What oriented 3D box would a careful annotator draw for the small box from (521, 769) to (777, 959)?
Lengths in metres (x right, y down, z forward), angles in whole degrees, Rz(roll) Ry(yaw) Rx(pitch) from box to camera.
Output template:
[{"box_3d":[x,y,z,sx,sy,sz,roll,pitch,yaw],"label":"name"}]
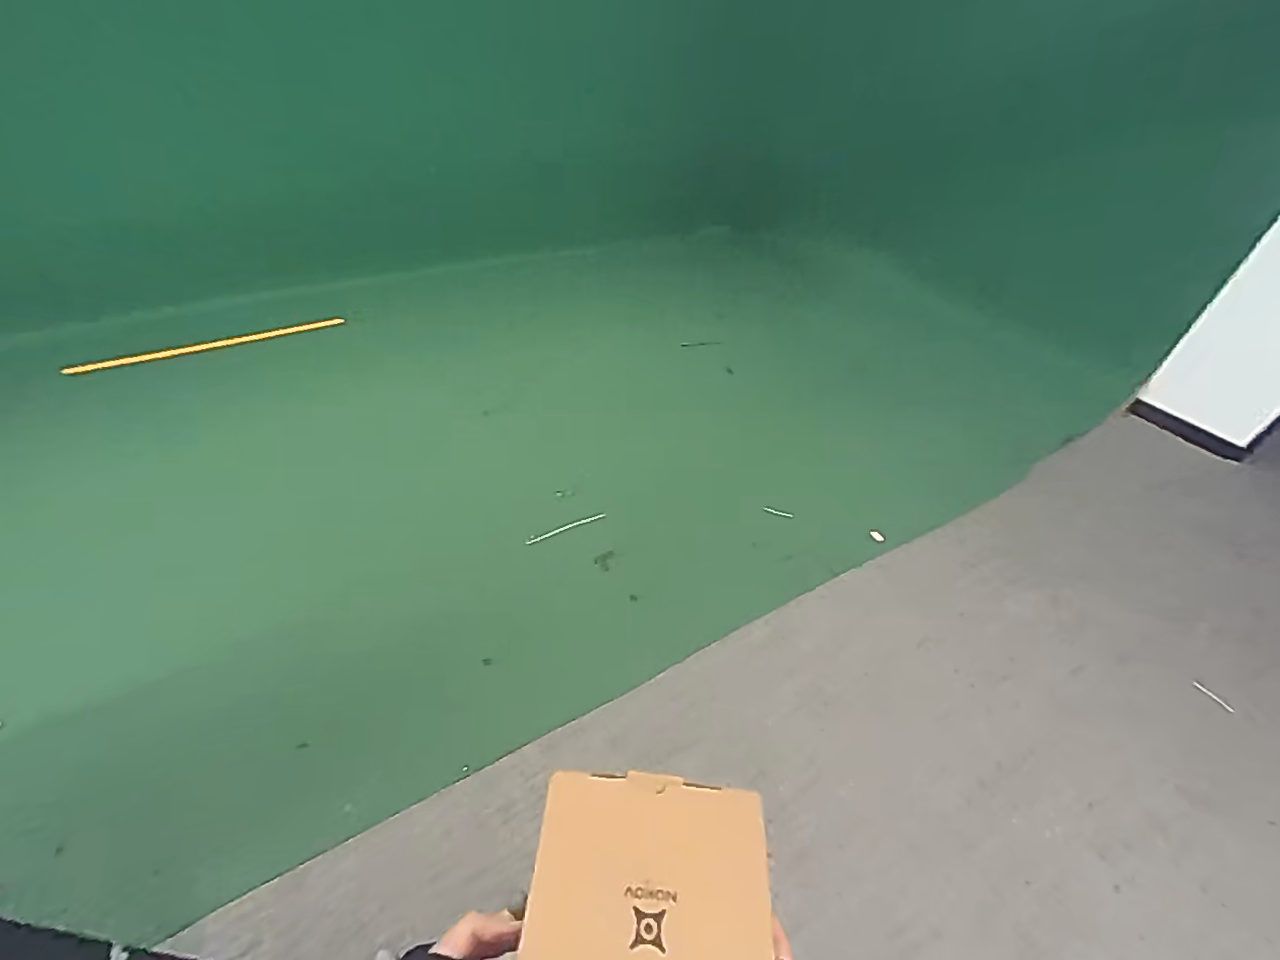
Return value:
[{"box_3d":[0.004,0.354,0.411,0.168,0.176,0.179,6,39,1],"label":"small box"}]
